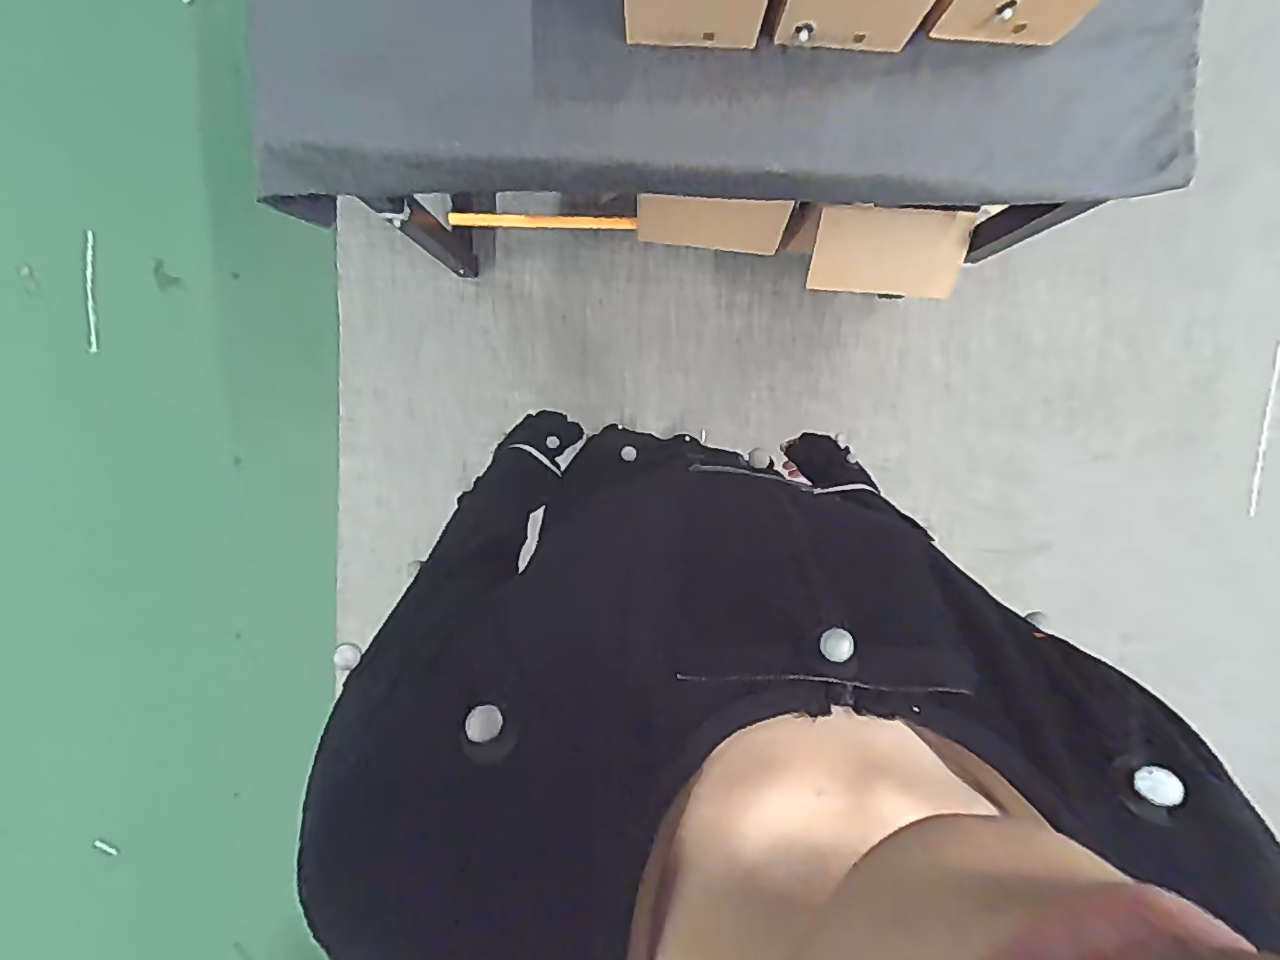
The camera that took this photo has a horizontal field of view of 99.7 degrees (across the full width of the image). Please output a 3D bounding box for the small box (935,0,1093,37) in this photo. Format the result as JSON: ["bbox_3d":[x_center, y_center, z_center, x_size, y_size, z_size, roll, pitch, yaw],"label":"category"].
[{"bbox_3d":[0.452,-0.641,0.591,0.168,0.176,0.179,4,97,0],"label":"small box"}]
